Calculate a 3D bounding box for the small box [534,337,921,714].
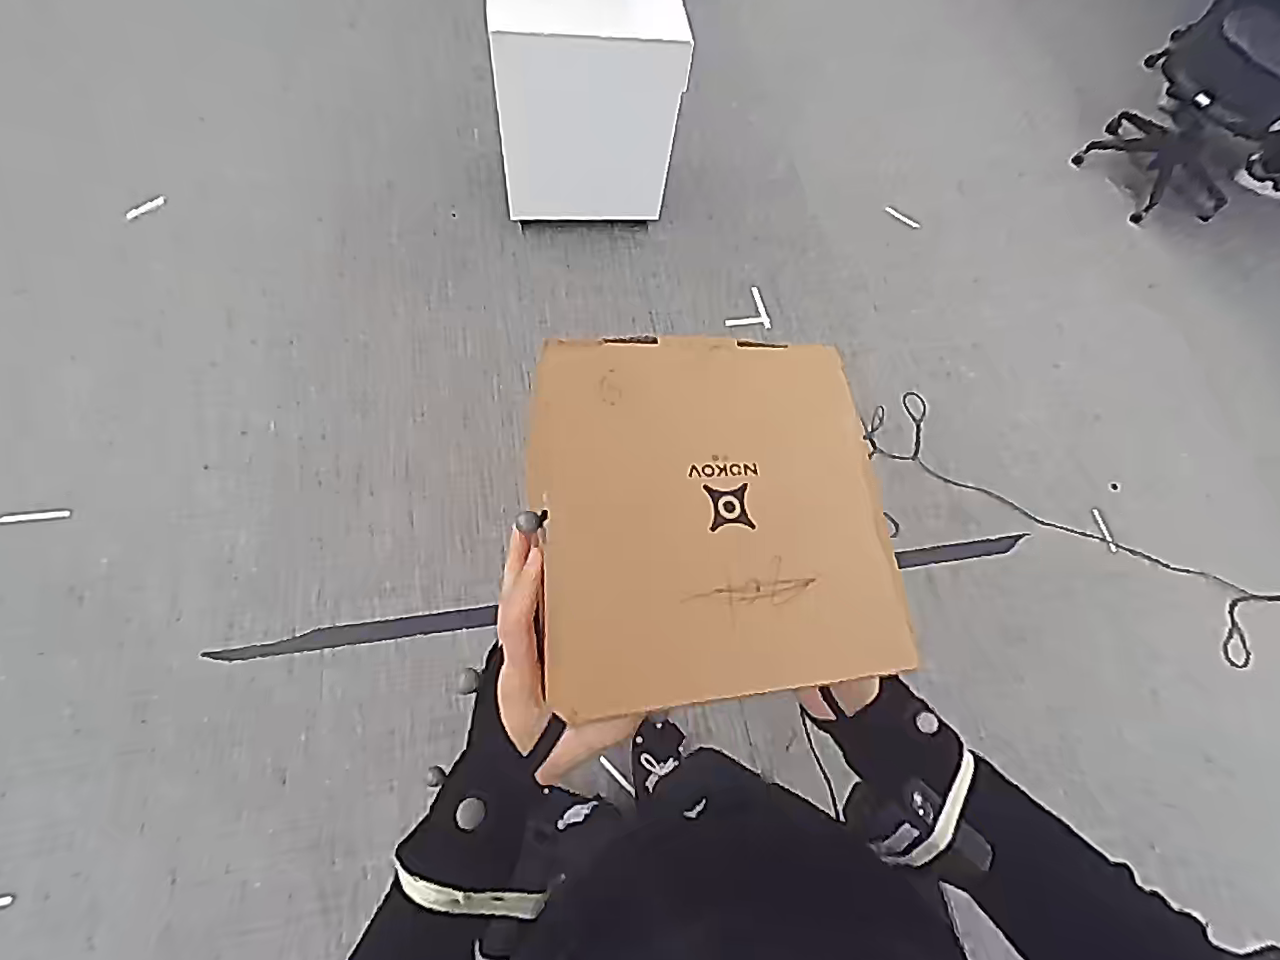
[{"bbox_3d":[0.025,0.037,0.331,0.168,0.176,0.179,-1,71,-15],"label":"small box"}]
